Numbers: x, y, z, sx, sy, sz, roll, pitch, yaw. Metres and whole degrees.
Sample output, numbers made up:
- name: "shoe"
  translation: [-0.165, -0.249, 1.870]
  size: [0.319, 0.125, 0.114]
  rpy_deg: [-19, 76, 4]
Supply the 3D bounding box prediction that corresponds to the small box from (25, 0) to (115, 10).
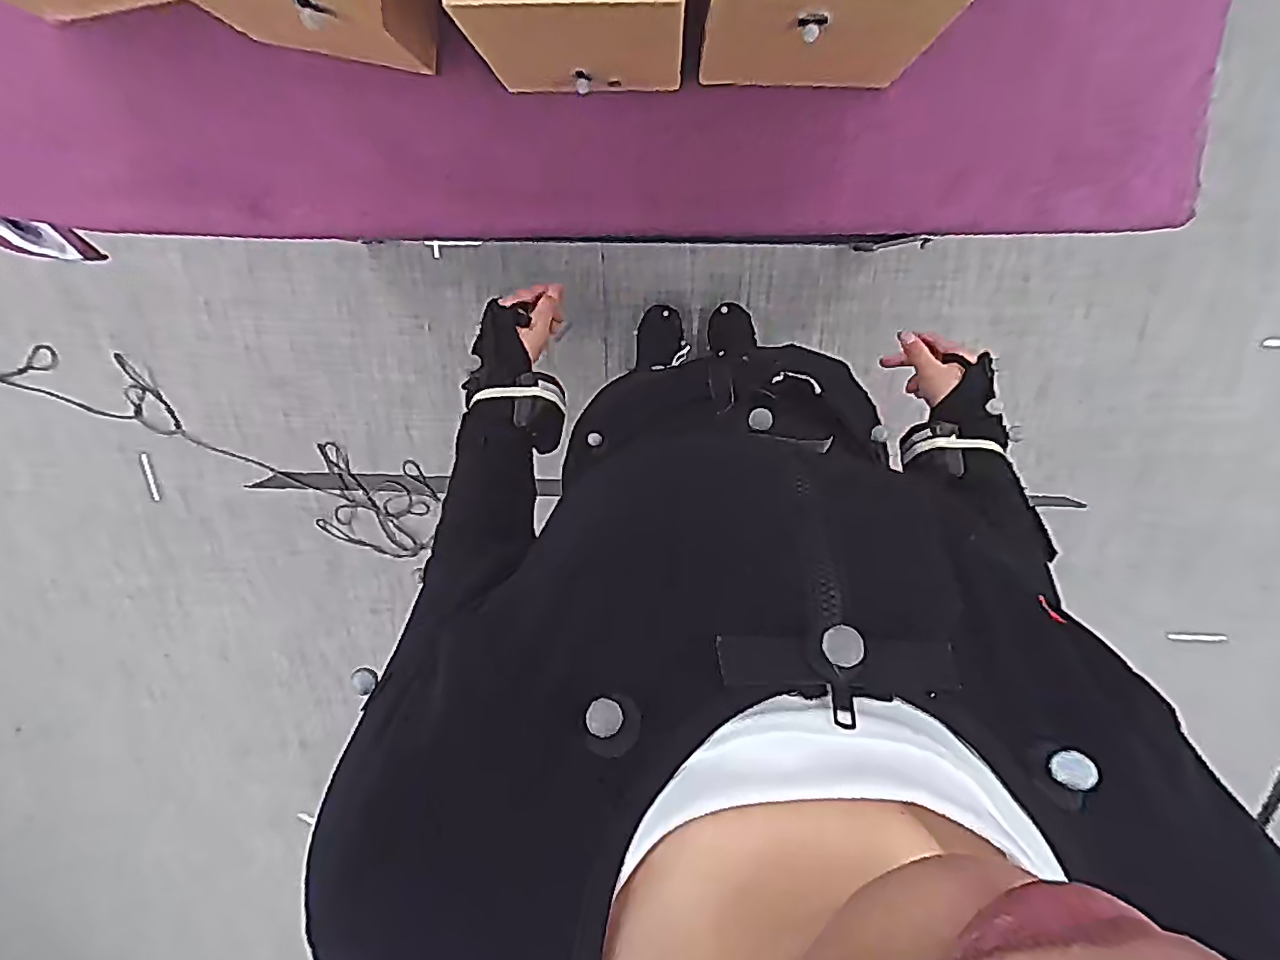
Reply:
- name: "small box"
  translation: [-0.497, -0.500, 0.410]
  size: [0.168, 0.176, 0.179]
  rpy_deg: [-6, 110, 5]
